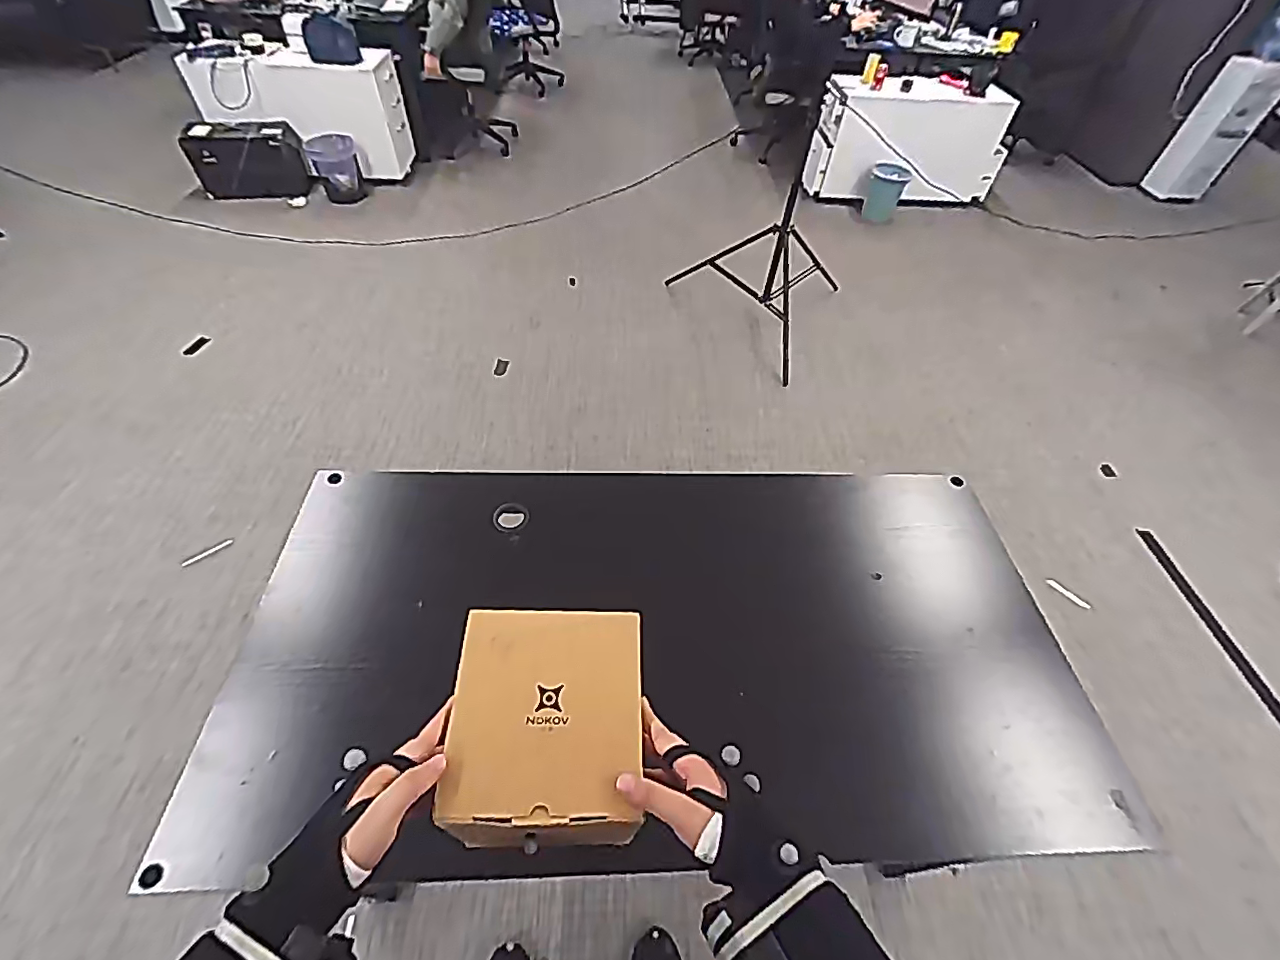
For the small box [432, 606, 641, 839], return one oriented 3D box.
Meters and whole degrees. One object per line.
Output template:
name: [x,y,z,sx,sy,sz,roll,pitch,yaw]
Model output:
small box: [-0.089,0.243,0.536,0.168,0.176,0.179,2,52,-5]
